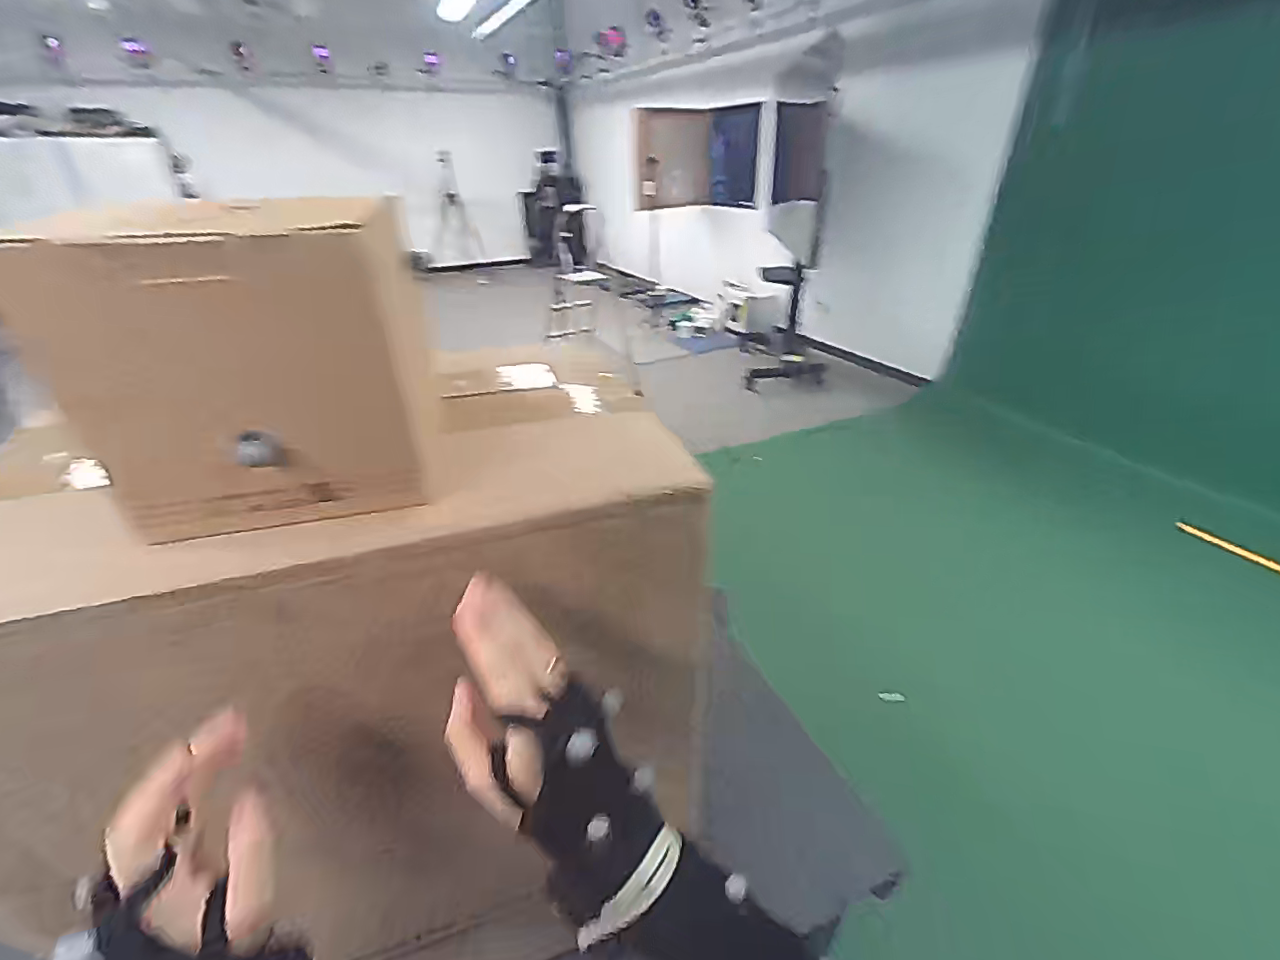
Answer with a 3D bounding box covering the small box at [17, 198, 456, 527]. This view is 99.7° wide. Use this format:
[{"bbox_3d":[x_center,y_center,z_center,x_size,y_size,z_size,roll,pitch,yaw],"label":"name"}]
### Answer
[{"bbox_3d":[-0.227,-0.091,0.372,0.168,0.176,0.179,-8,34,-13],"label":"small box"}]
